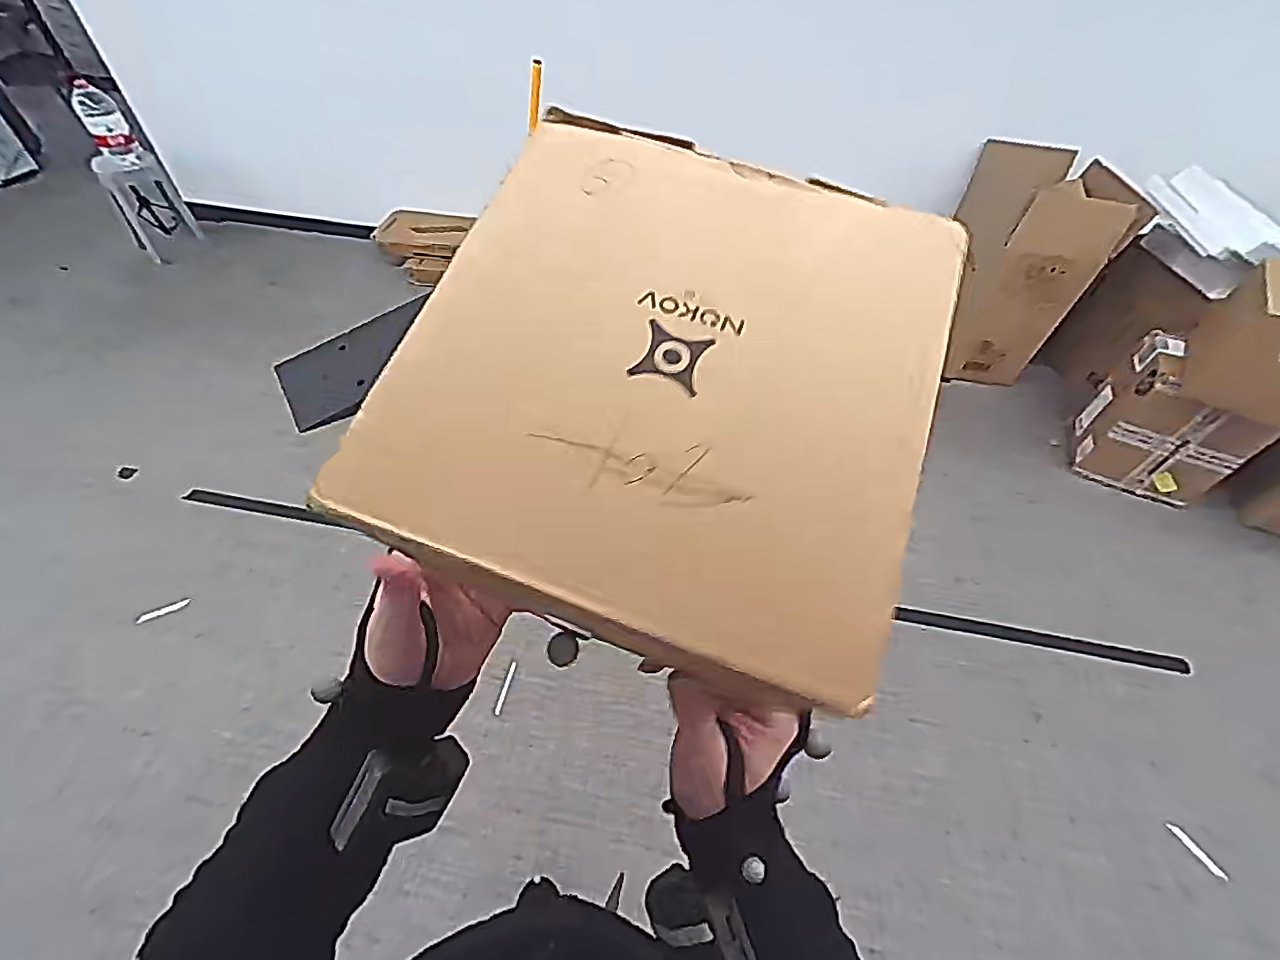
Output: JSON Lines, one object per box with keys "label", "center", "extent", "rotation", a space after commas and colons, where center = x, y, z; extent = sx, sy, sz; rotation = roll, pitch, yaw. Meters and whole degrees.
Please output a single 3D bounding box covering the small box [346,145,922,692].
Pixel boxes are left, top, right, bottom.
{"label": "small box", "center": [0.006, -0.011, 0.264], "extent": [0.168, 0.176, 0.179], "rotation": [17, 70, 4]}
